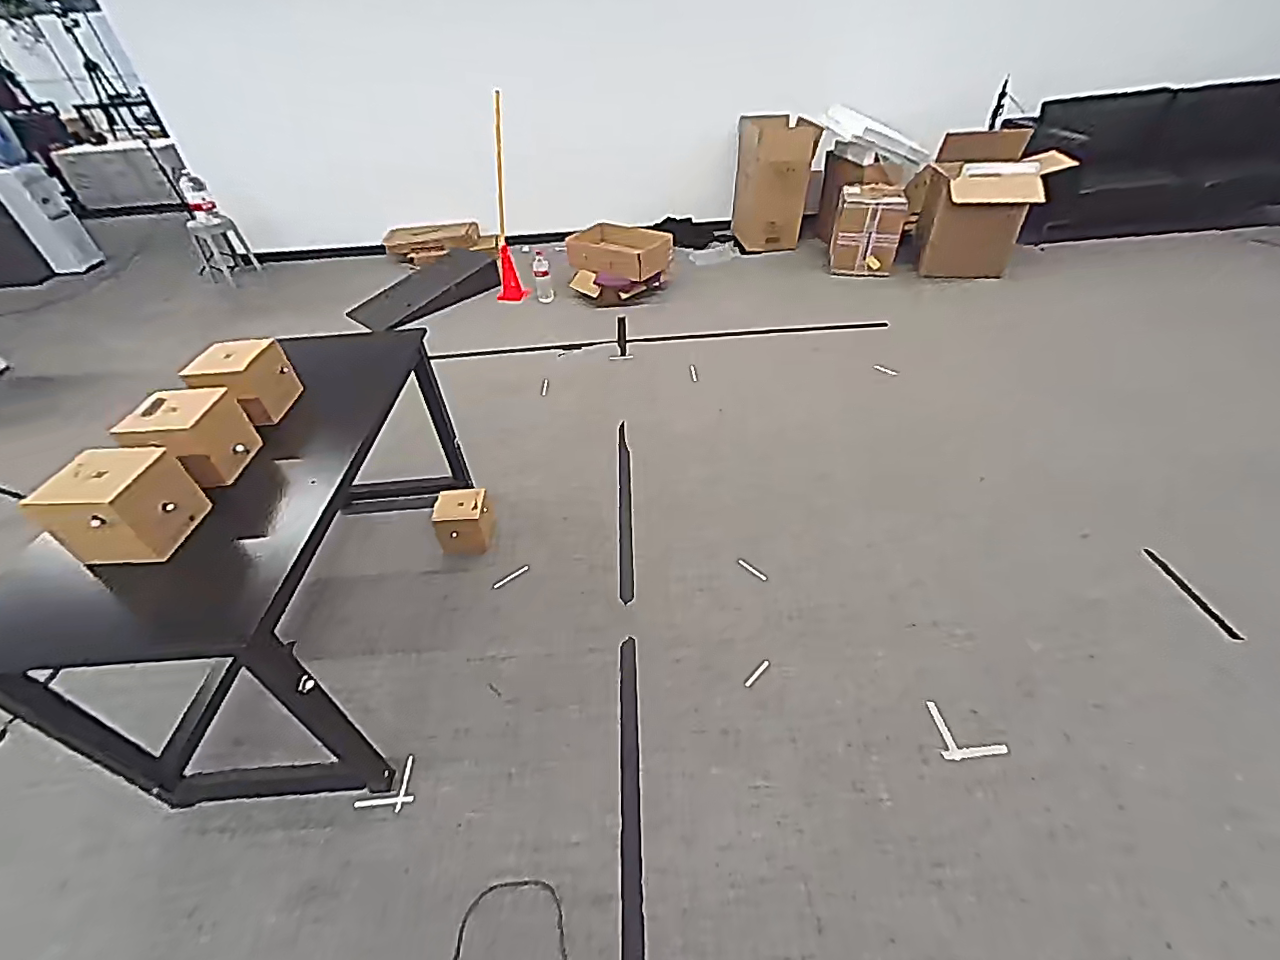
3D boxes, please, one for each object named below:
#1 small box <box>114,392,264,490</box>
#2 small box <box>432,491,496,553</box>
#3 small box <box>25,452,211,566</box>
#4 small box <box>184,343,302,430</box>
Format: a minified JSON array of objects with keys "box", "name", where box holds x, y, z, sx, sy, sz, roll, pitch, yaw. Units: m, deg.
[{"box":[-1.041,-0.087,1.267,0.179,0.176,0.168,-4,41,-2],"name":"small box"},{"box":[-0.664,0.164,2.056,0.179,0.176,0.168,-5,42,0],"name":"small box"},{"box":[-1.037,0.061,1.098,0.179,0.176,0.168,-2,41,3],"name":"small box"},{"box":[-1.053,-0.248,1.456,0.168,0.176,0.179,-6,41,1],"name":"small box"}]
